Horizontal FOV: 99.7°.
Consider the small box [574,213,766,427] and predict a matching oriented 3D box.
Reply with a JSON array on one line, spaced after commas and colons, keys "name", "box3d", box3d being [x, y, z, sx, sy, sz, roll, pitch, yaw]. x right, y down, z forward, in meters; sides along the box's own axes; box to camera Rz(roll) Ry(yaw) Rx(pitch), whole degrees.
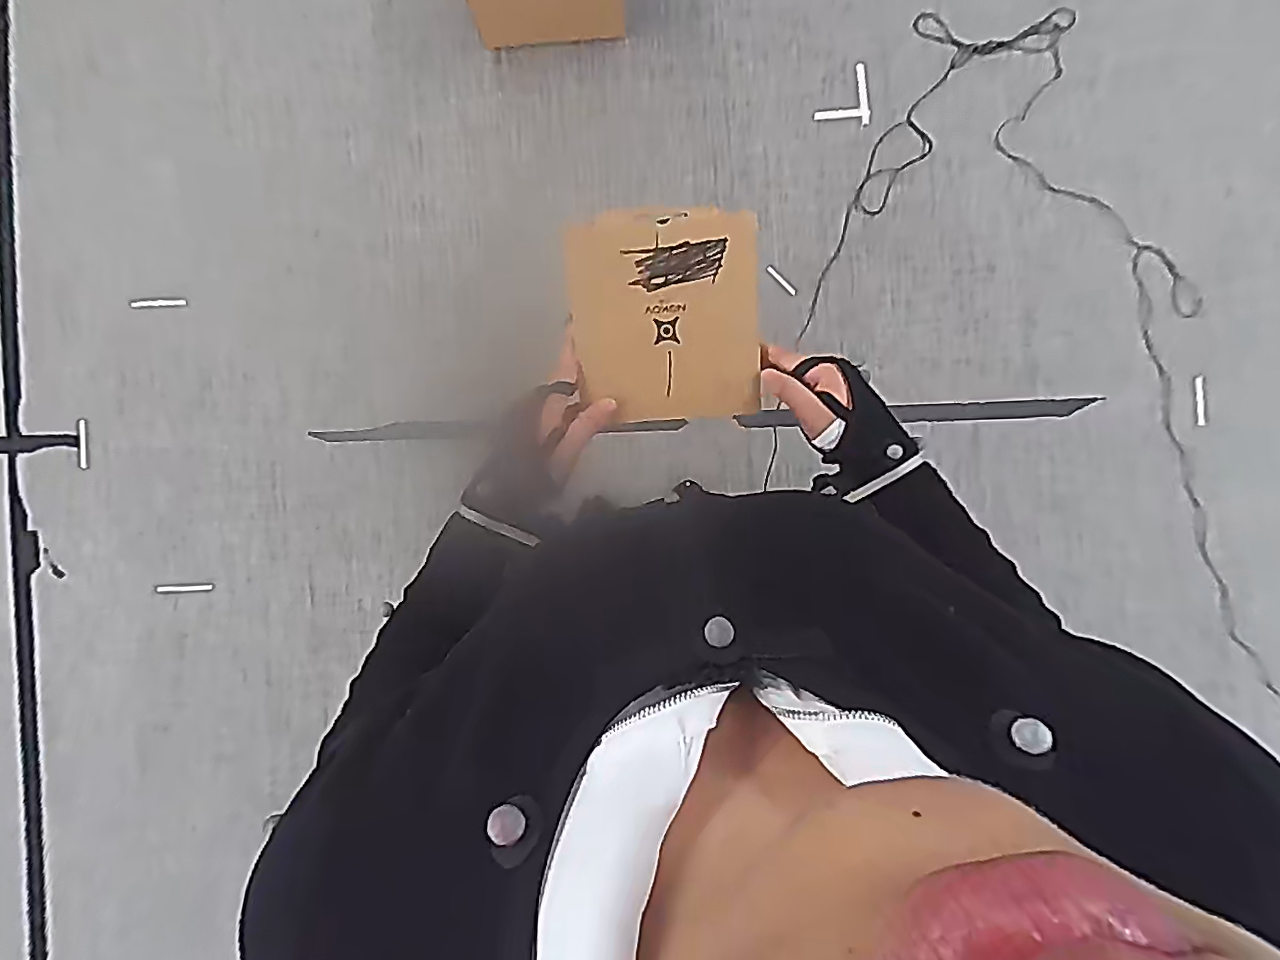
[{"name": "small box", "box3d": [0.022, -0.149, 0.546, 0.168, 0.176, 0.179, -4, 101, -3]}]
